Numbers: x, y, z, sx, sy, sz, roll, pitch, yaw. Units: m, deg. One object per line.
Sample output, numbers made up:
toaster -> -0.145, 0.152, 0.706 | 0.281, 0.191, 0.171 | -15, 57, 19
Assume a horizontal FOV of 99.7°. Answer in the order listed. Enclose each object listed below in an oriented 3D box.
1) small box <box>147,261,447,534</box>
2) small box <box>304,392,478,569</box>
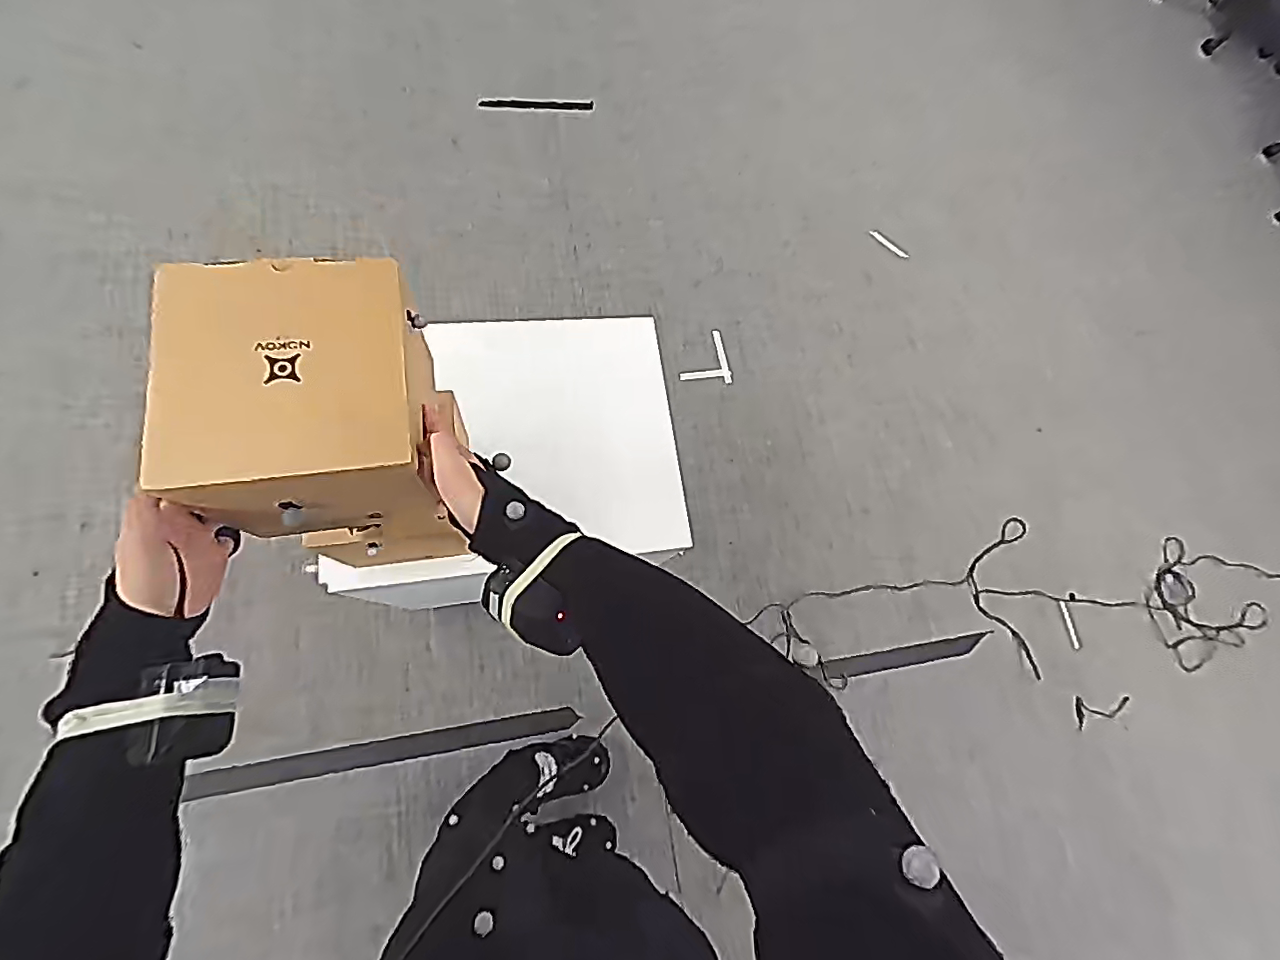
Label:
small box -> -0.267, -0.057, 0.462 | 0.168, 0.176, 0.179 | -7, 74, -14
small box -> -0.301, 0.006, 0.683 | 0.168, 0.176, 0.179 | -6, 74, -13
